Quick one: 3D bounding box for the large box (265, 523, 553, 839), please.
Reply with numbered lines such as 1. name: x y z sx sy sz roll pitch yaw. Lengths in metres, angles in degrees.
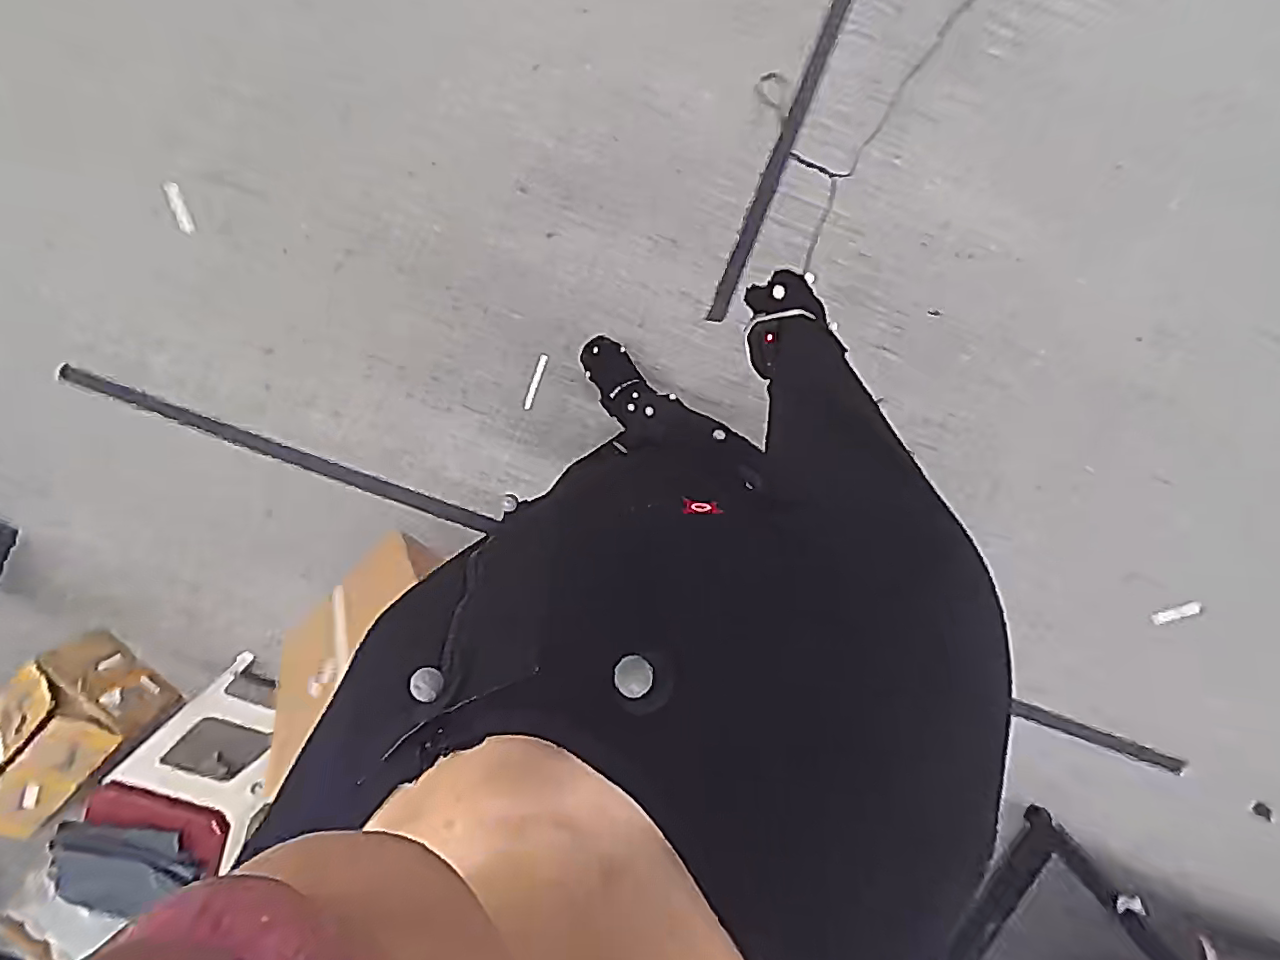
1. large box: -0.427 0.344 1.002 0.320 0.408 0.320 -46 125 -9
